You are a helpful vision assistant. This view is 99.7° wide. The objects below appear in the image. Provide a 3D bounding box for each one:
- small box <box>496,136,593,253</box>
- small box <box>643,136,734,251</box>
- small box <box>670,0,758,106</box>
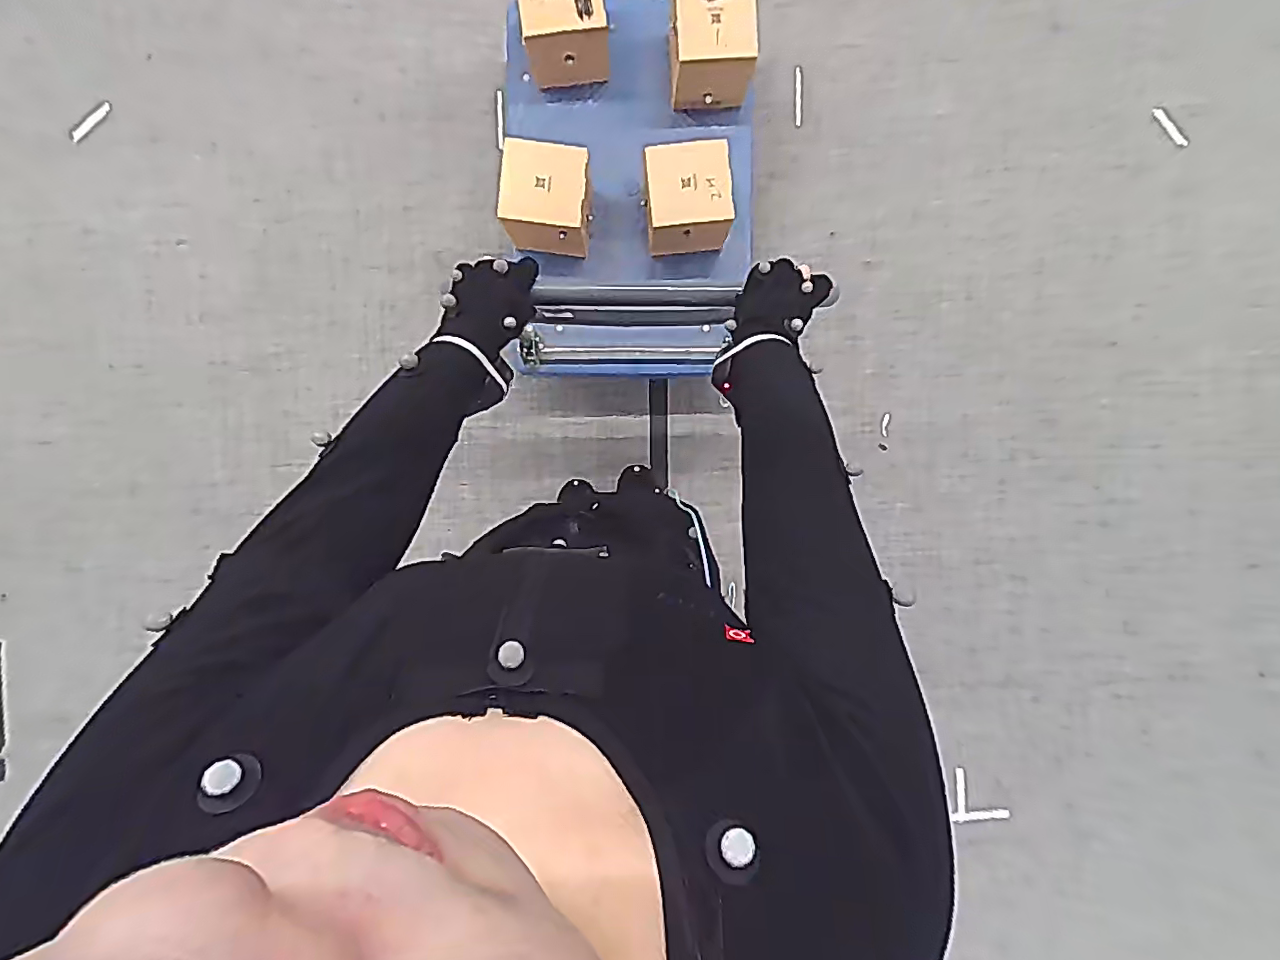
[{"bbox_3d":[-0.203,-0.617,1.186,0.179,0.176,0.168,6,93,-2],"label":"small box"},{"bbox_3d":[0.101,-0.619,1.190,0.179,0.176,0.168,-6,94,0],"label":"small box"},{"bbox_3d":[0.154,-0.954,1.170,0.168,0.176,0.179,-3,95,0],"label":"small box"}]
